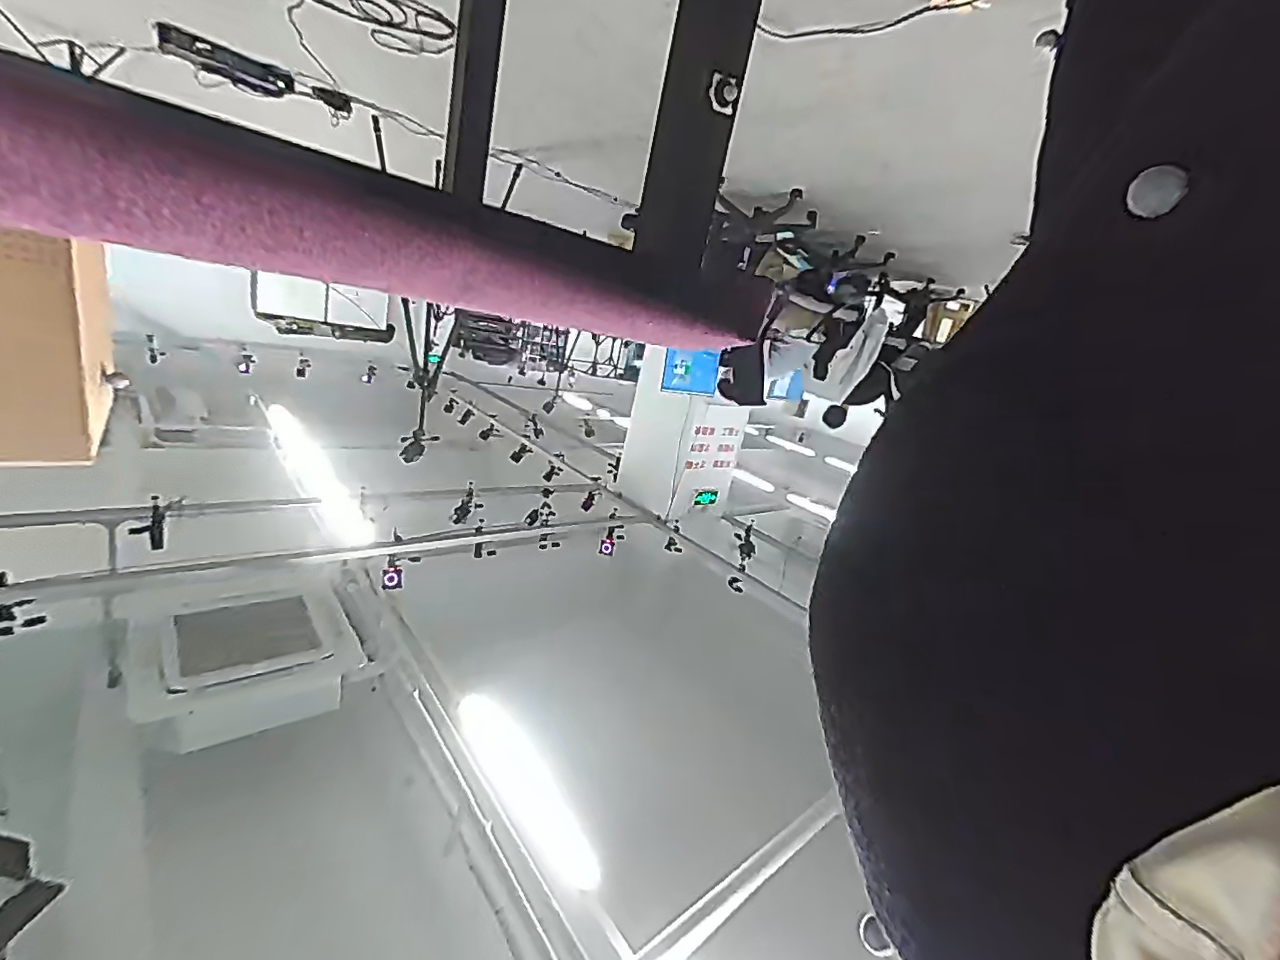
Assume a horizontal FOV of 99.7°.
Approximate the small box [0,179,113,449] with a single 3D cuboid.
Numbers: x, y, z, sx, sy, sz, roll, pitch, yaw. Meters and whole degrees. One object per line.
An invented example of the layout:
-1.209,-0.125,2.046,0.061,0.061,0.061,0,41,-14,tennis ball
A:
-0.485,-0.129,0.373,0.168,0.176,0.179,-2,-158,-40,small box
